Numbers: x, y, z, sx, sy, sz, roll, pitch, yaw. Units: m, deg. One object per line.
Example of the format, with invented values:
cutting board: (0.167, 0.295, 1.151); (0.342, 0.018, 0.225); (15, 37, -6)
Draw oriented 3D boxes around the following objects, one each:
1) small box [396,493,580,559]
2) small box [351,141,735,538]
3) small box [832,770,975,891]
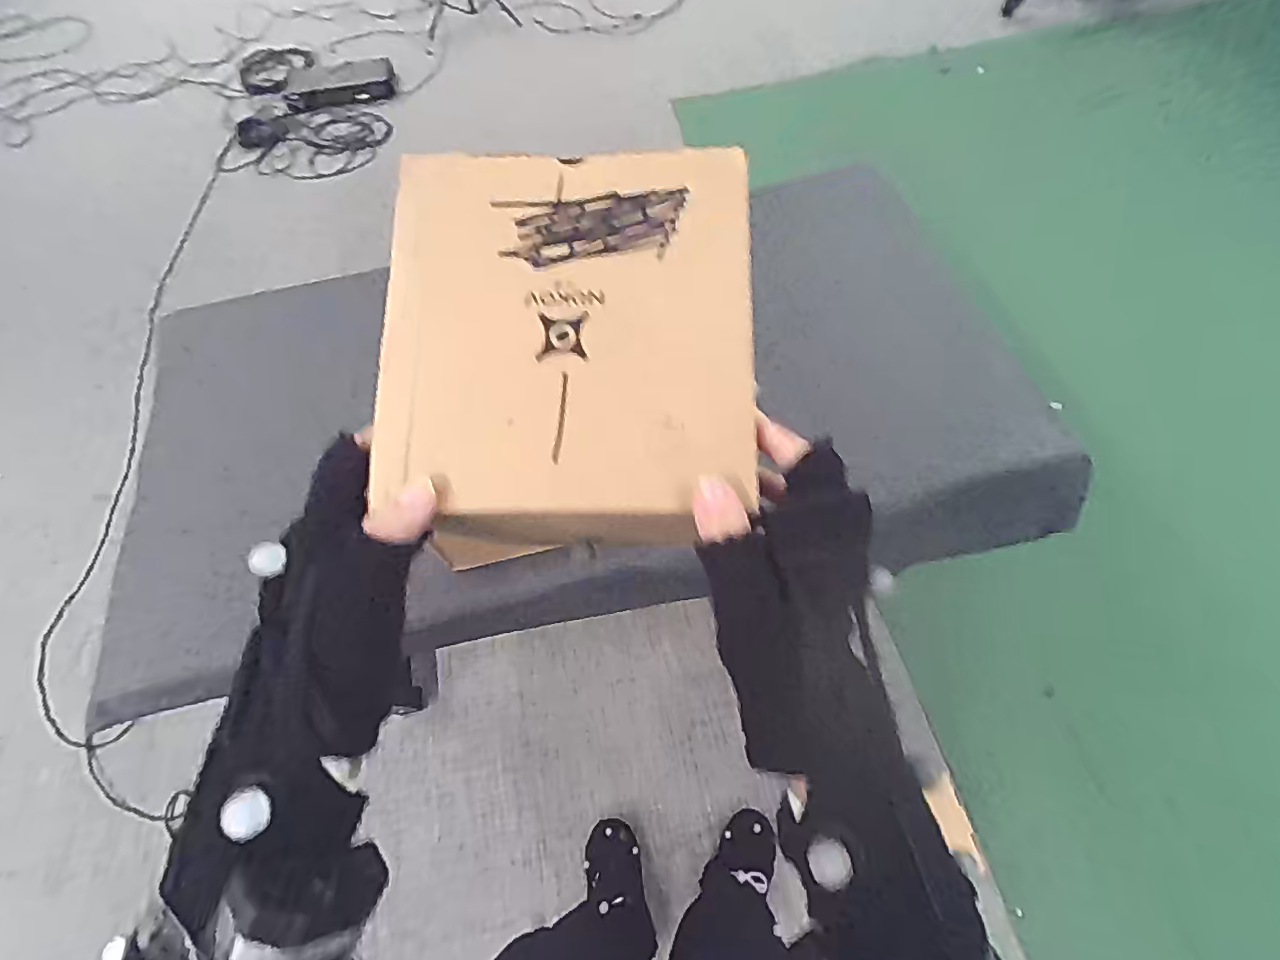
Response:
small box: (-0.160, -0.022, 0.627); (0.179, 0.176, 0.168); (-12, 63, -3)
small box: (-0.038, -0.063, 0.322); (0.168, 0.176, 0.179); (0, 79, 3)
small box: (0.503, 0.675, 1.061); (0.179, 0.176, 0.168); (-10, 63, 0)
